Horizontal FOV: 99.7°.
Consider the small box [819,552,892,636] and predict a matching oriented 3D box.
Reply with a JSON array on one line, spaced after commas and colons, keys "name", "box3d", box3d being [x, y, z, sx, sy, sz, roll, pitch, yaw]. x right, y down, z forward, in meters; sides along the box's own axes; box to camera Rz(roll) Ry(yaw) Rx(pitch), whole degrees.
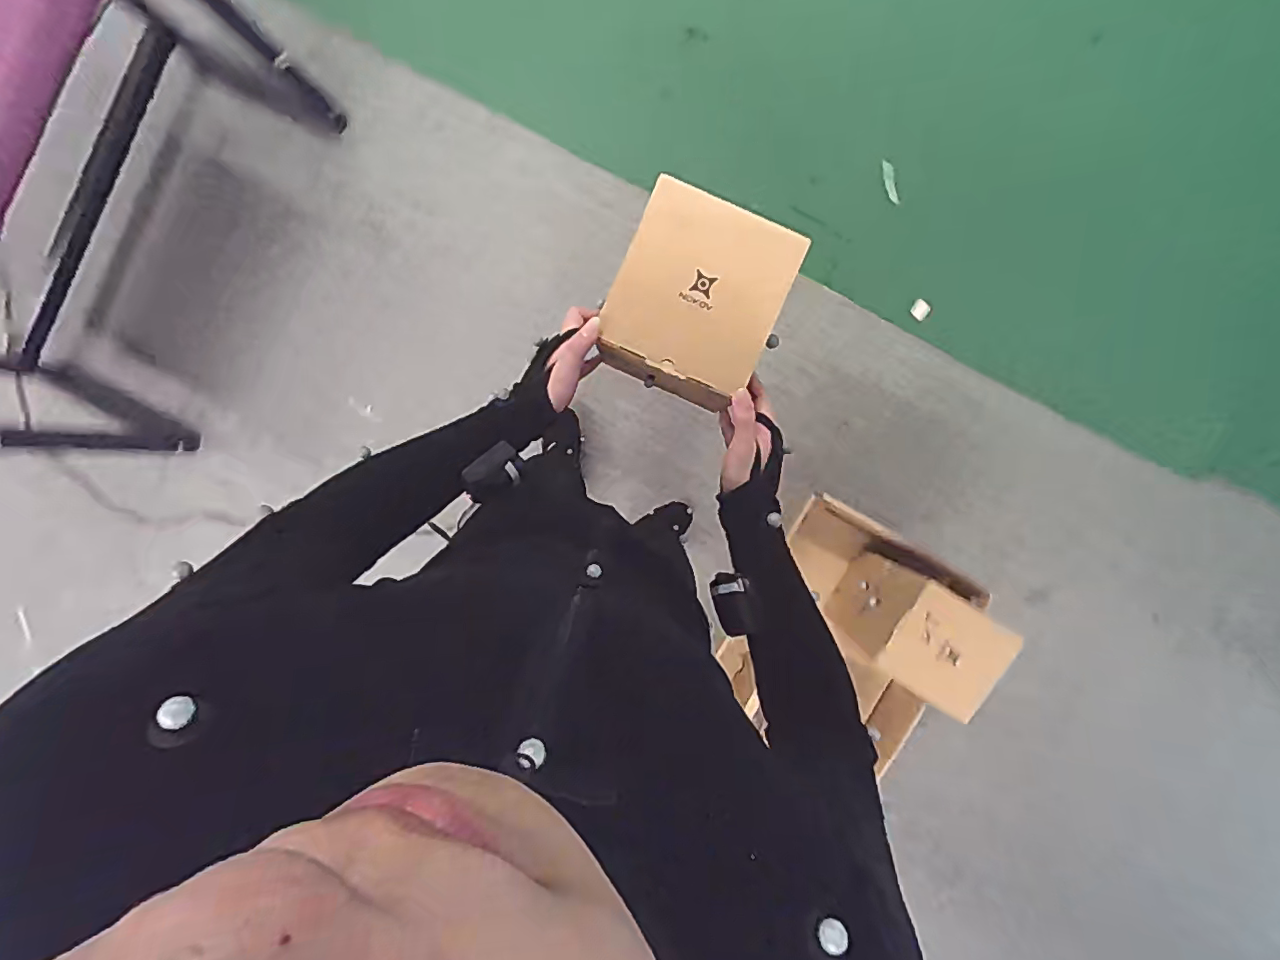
[{"name": "small box", "box3d": [0.499, 0.264, 1.106, 0.179, 0.176, 0.168, 32, 94, 2]}]

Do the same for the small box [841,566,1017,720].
[{"name": "small box", "box3d": [0.487, 0.270, 0.942, 0.179, 0.176, 0.168, 34, 93, 2]}]
